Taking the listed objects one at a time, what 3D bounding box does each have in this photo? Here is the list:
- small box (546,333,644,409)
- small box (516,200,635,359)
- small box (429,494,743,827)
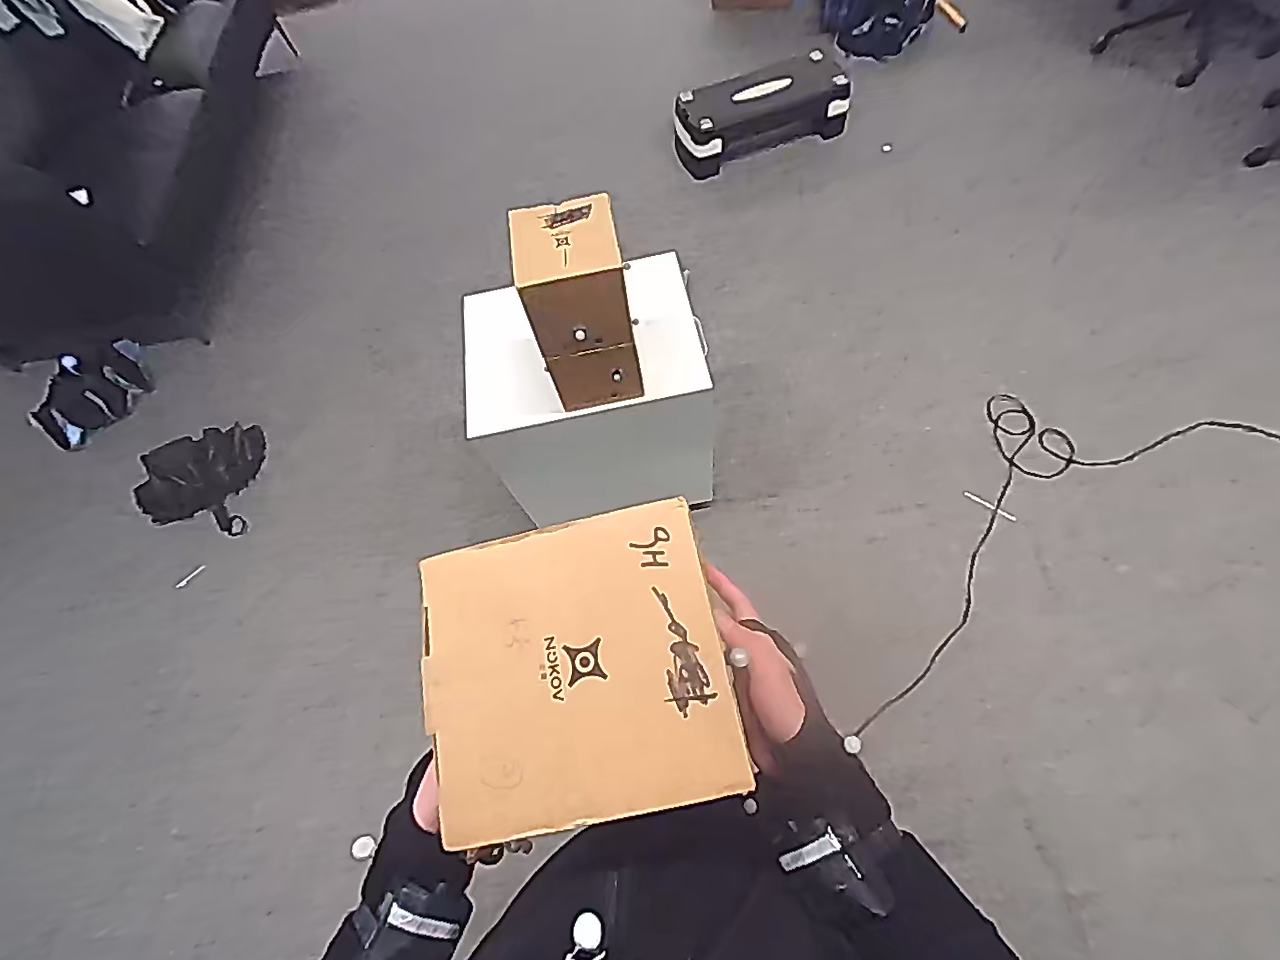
[{"bbox_3d":[-0.089,-0.258,1.063,0.168,0.176,0.179,-11,61,0],"label":"small box"},{"bbox_3d":[-0.106,-0.334,0.918,0.168,0.176,0.179,-10,63,1],"label":"small box"},{"bbox_3d":[-0.028,0.126,0.395,0.179,0.176,0.168,-13,71,5],"label":"small box"}]
